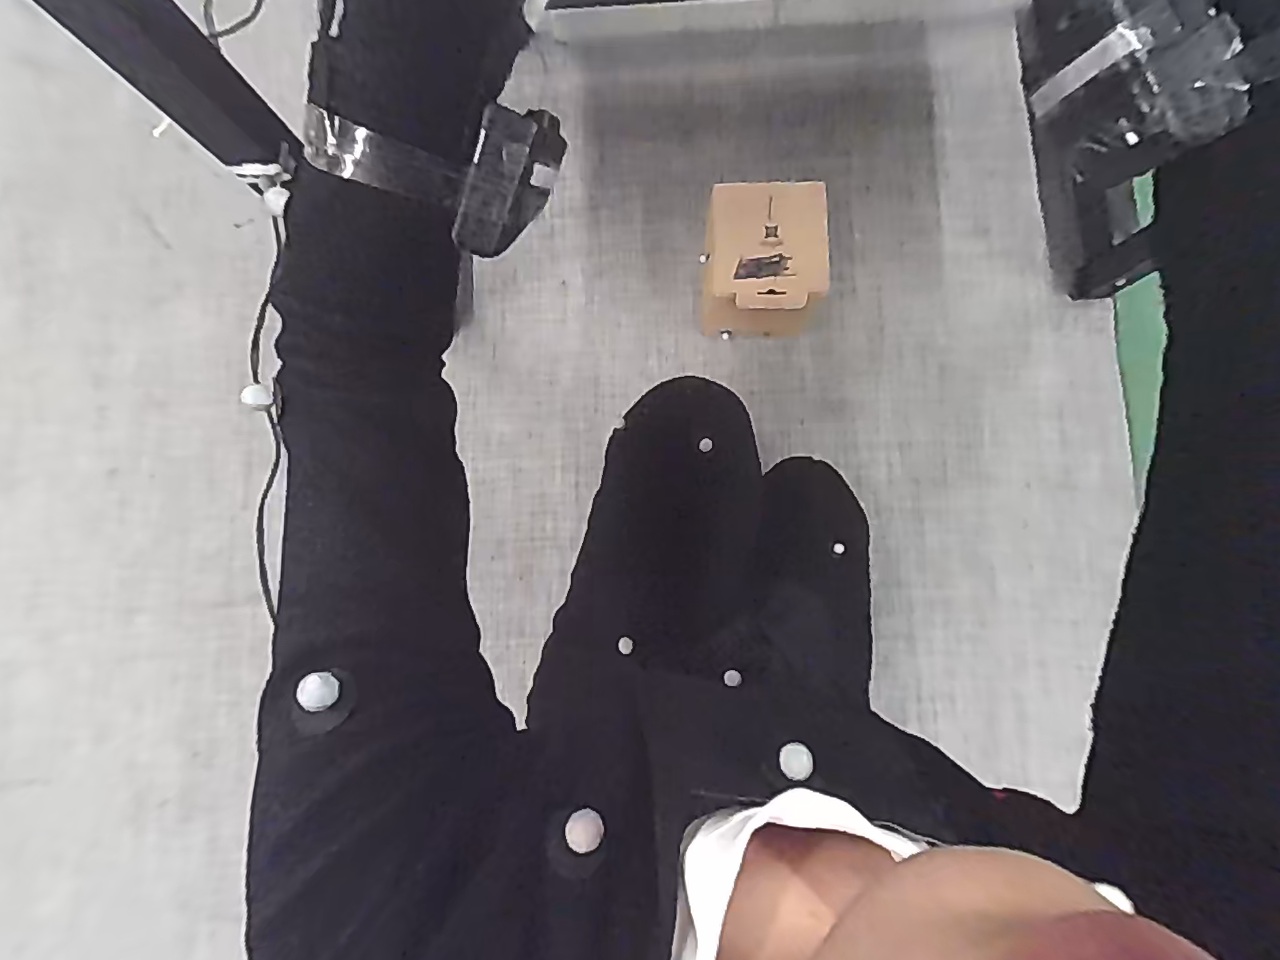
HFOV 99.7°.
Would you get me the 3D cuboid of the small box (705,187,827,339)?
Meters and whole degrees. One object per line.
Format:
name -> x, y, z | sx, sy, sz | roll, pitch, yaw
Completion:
small box -> 0.195, -0.336, 0.868 | 0.168, 0.176, 0.179 | 1, 82, 3
